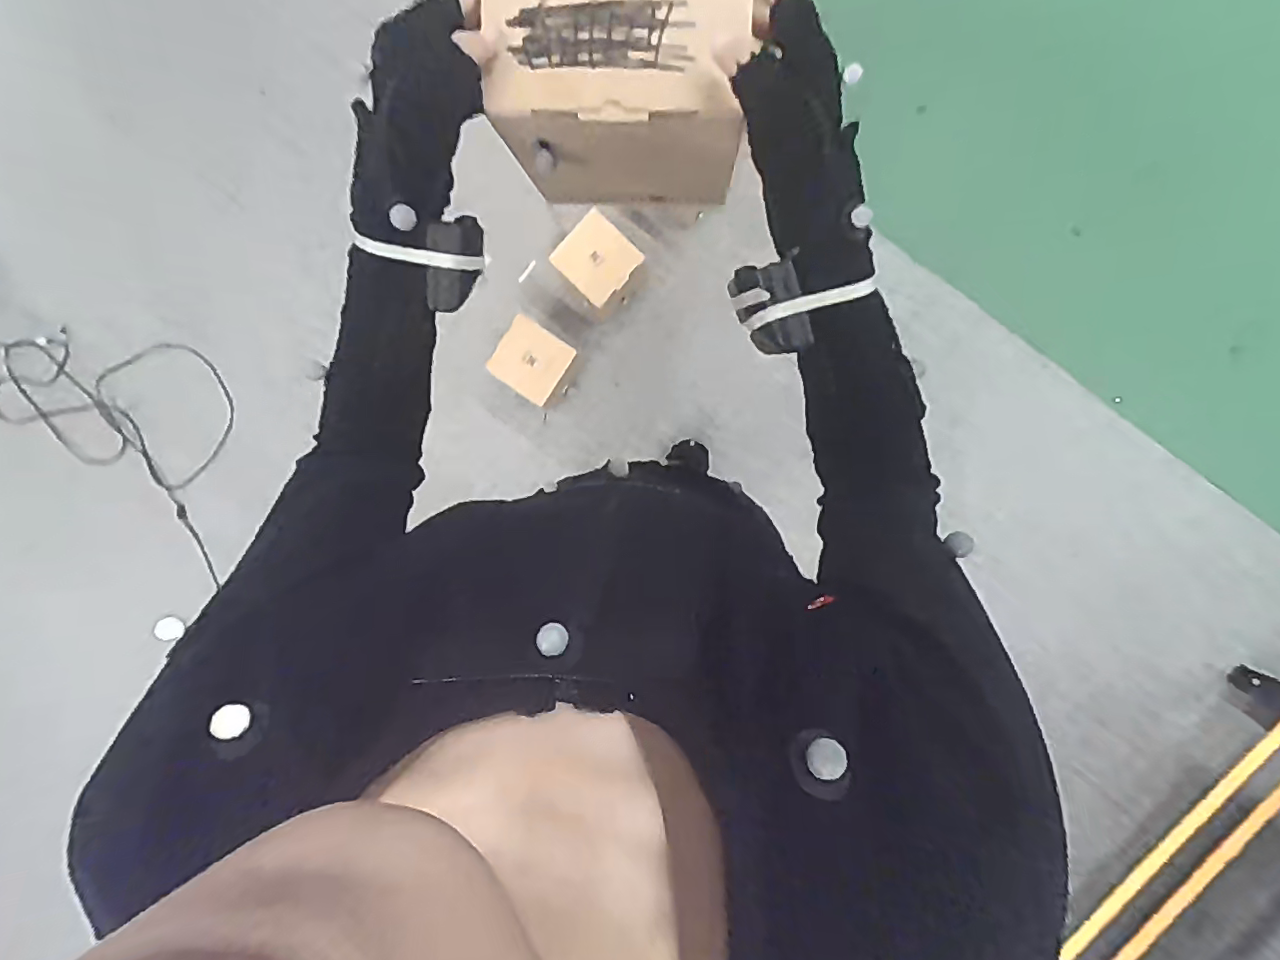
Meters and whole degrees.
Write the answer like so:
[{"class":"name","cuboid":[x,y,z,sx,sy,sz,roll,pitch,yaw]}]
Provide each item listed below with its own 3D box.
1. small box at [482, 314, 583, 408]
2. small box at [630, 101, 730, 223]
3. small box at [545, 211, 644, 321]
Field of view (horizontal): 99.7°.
[{"class":"small box","cuboid":[-0.268,-0.295,1.392,0.179,0.176,0.168,34,97,-1]},{"class":"small box","cuboid":[0.099,-0.771,1.338,0.179,0.176,0.168,38,95,1]},{"class":"small box","cuboid":[-0.108,-0.529,1.367,0.179,0.176,0.168,43,95,-1]}]
